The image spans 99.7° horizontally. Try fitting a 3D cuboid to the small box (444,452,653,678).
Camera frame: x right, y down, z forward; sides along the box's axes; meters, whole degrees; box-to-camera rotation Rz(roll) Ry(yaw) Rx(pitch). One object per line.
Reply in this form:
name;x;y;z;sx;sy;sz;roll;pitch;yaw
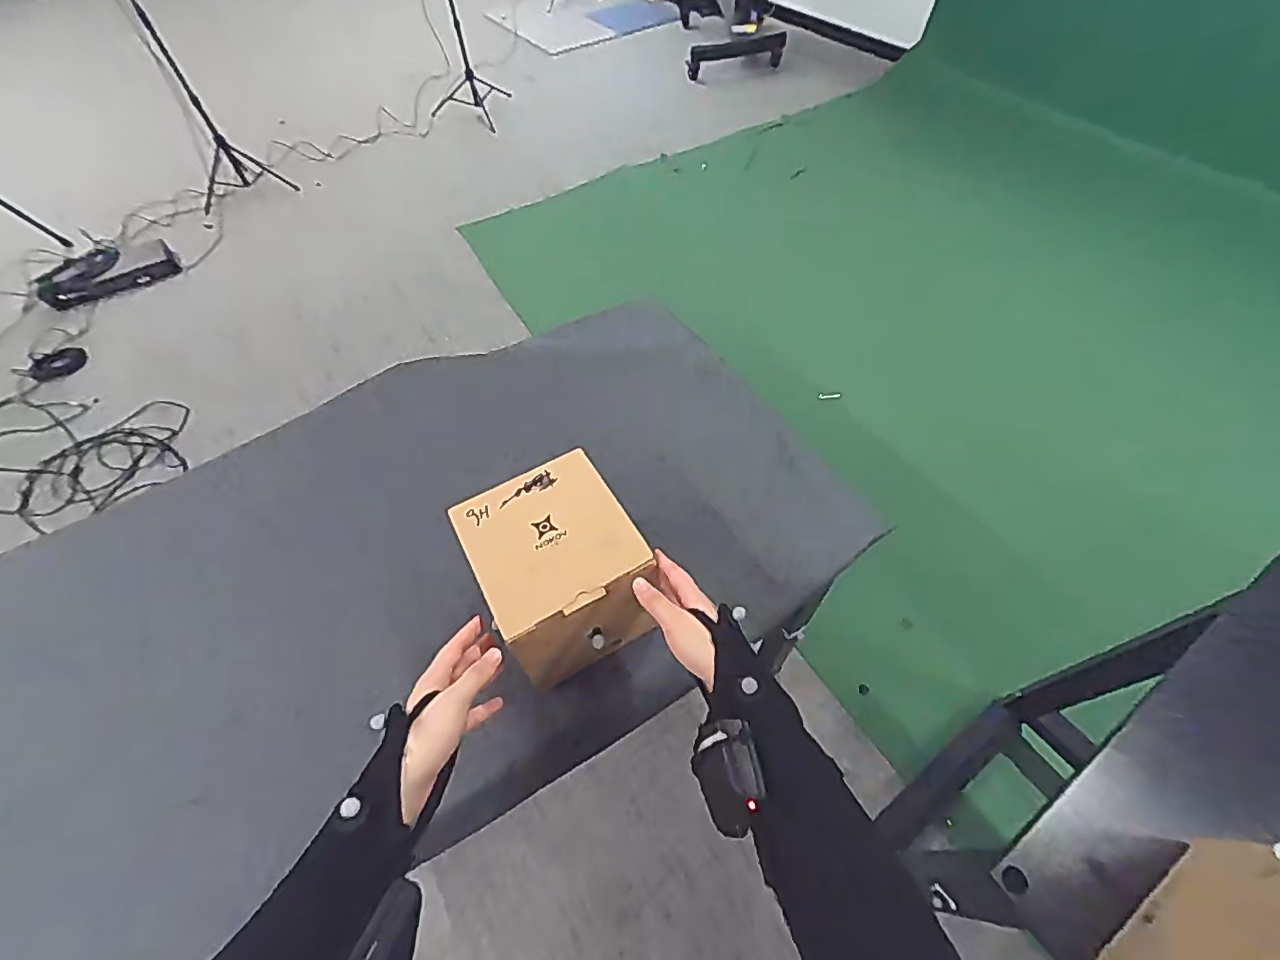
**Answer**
small box;-0.094;0.106;0.624;0.168;0.176;0.179;-27;58;-14
